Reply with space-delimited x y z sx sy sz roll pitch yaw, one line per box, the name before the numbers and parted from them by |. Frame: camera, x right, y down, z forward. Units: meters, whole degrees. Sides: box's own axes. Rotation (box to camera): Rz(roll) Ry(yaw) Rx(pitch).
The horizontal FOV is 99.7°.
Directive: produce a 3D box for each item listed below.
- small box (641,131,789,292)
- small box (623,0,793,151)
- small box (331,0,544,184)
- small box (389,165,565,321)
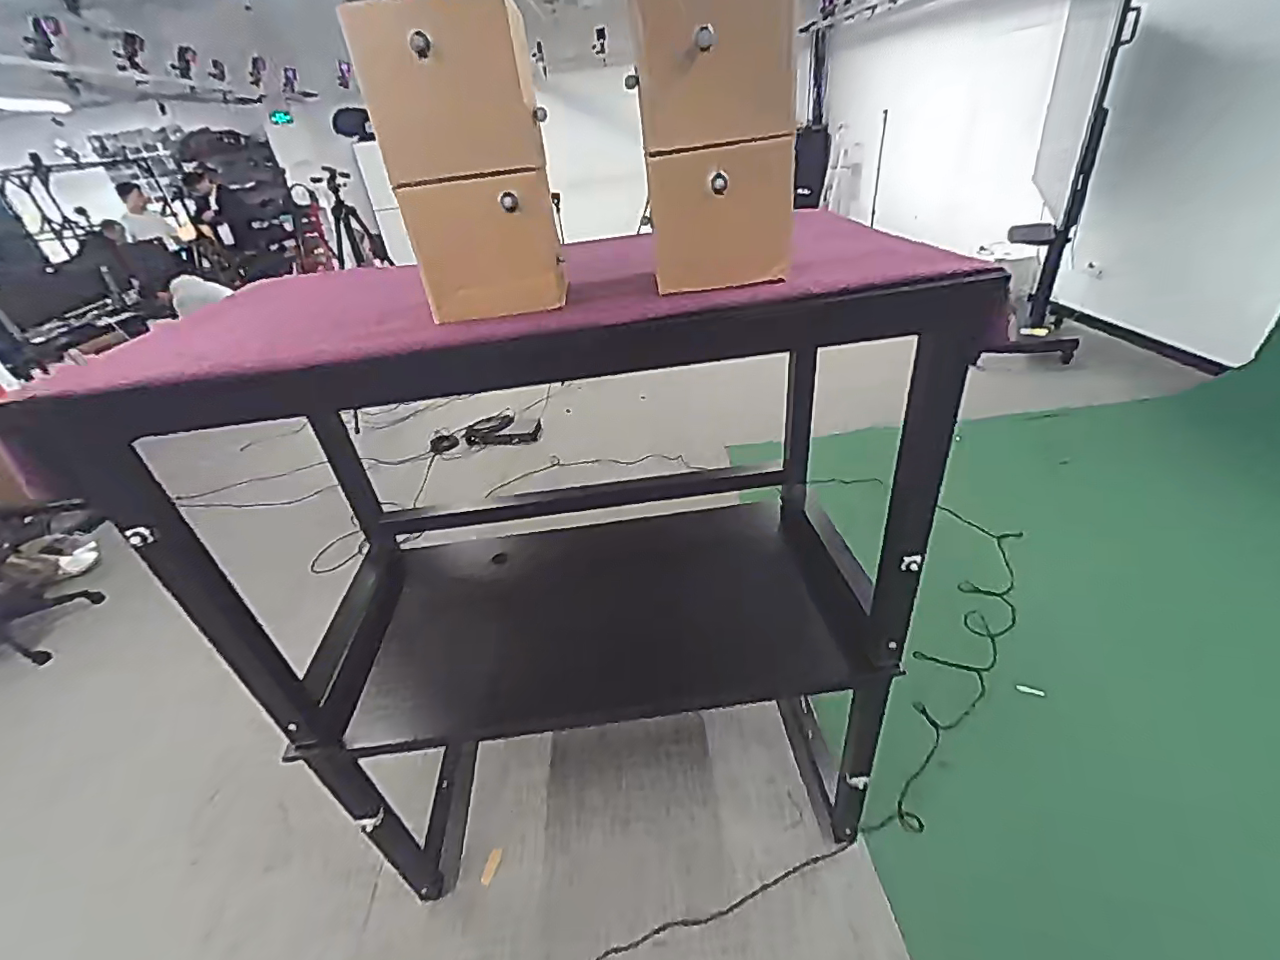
small box | 0.098 -0.364 0.737 0.179 0.176 0.168 -6 33 3
small box | 0.079 -0.501 0.649 0.179 0.176 0.168 -8 34 3
small box | -0.225 -0.464 0.655 0.179 0.176 0.168 -7 33 0
small box | -0.207 -0.325 0.743 0.179 0.176 0.168 -8 32 -1
